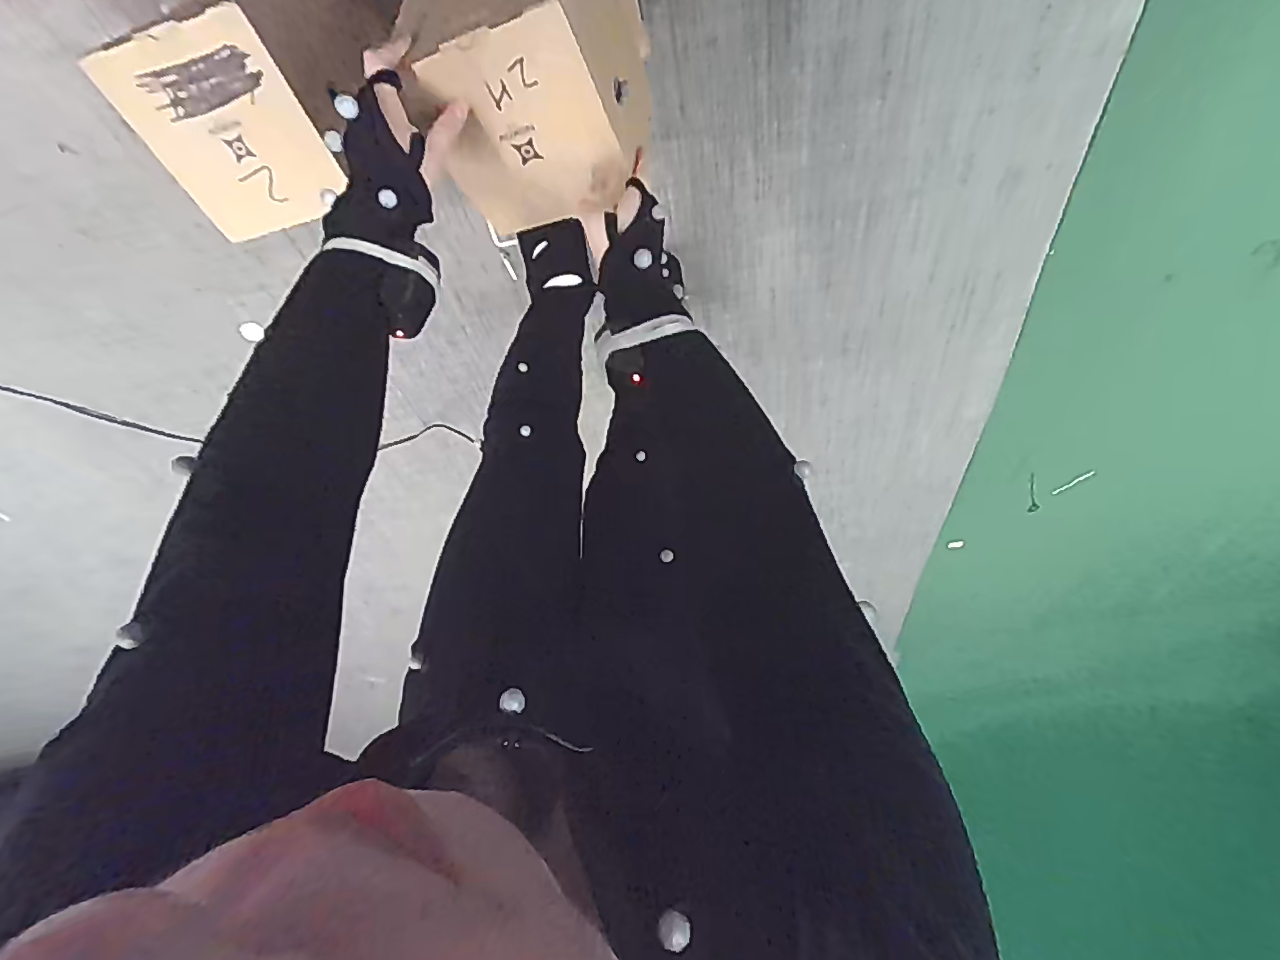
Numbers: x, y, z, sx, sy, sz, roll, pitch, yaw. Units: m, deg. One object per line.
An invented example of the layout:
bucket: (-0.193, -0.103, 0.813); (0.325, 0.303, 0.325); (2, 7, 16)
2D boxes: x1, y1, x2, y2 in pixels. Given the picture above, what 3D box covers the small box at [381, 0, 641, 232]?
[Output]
small box: (-0.103, -0.380, 0.518); (0.168, 0.176, 0.179); (-4, 157, 19)
